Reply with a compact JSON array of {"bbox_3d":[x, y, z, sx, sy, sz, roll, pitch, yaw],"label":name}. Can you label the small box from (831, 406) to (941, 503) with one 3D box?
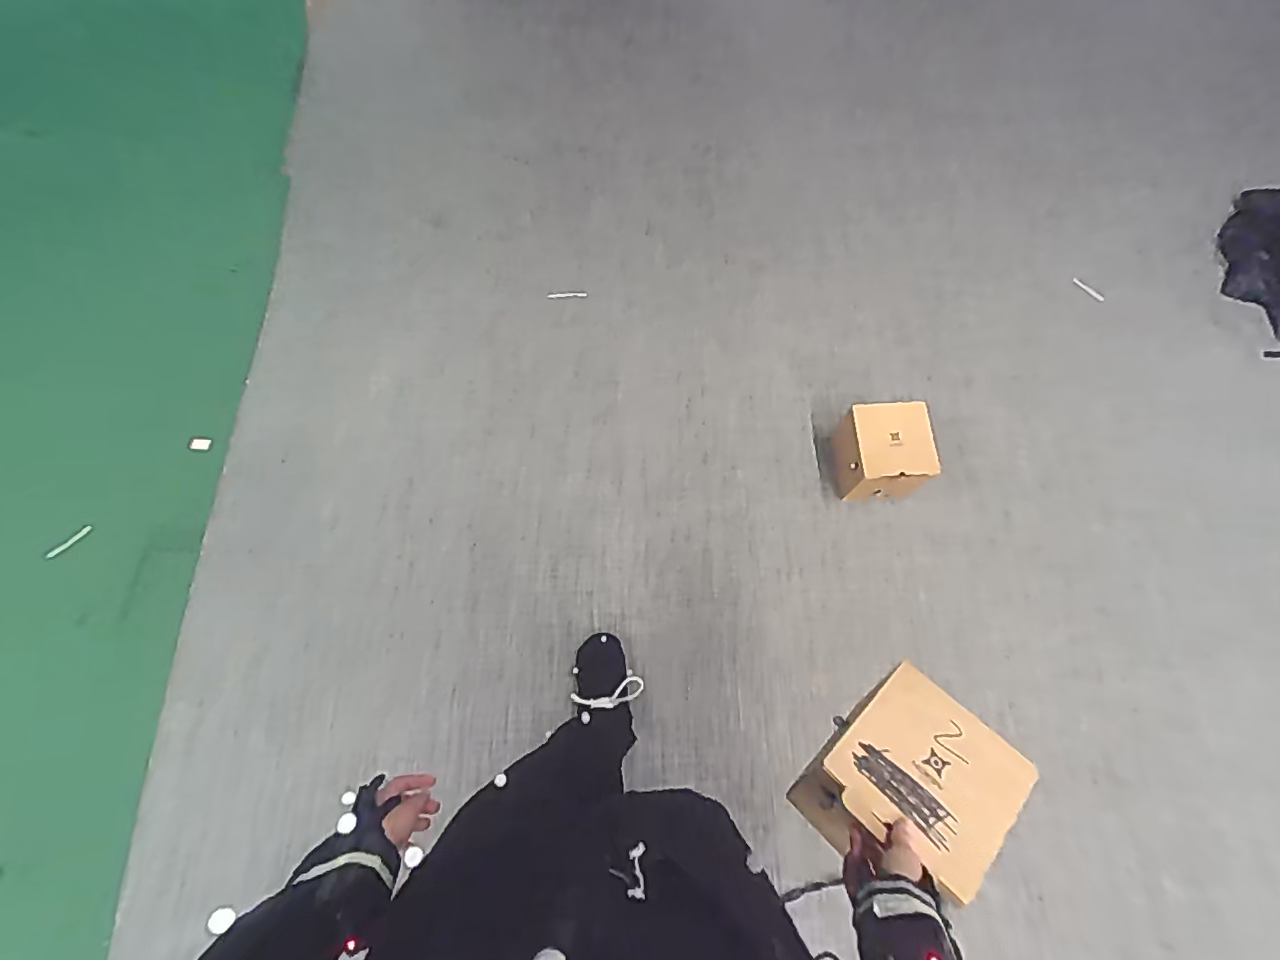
[{"bbox_3d":[0.559,-0.054,1.254,0.168,0.176,0.179,-3,72,1],"label":"small box"}]
